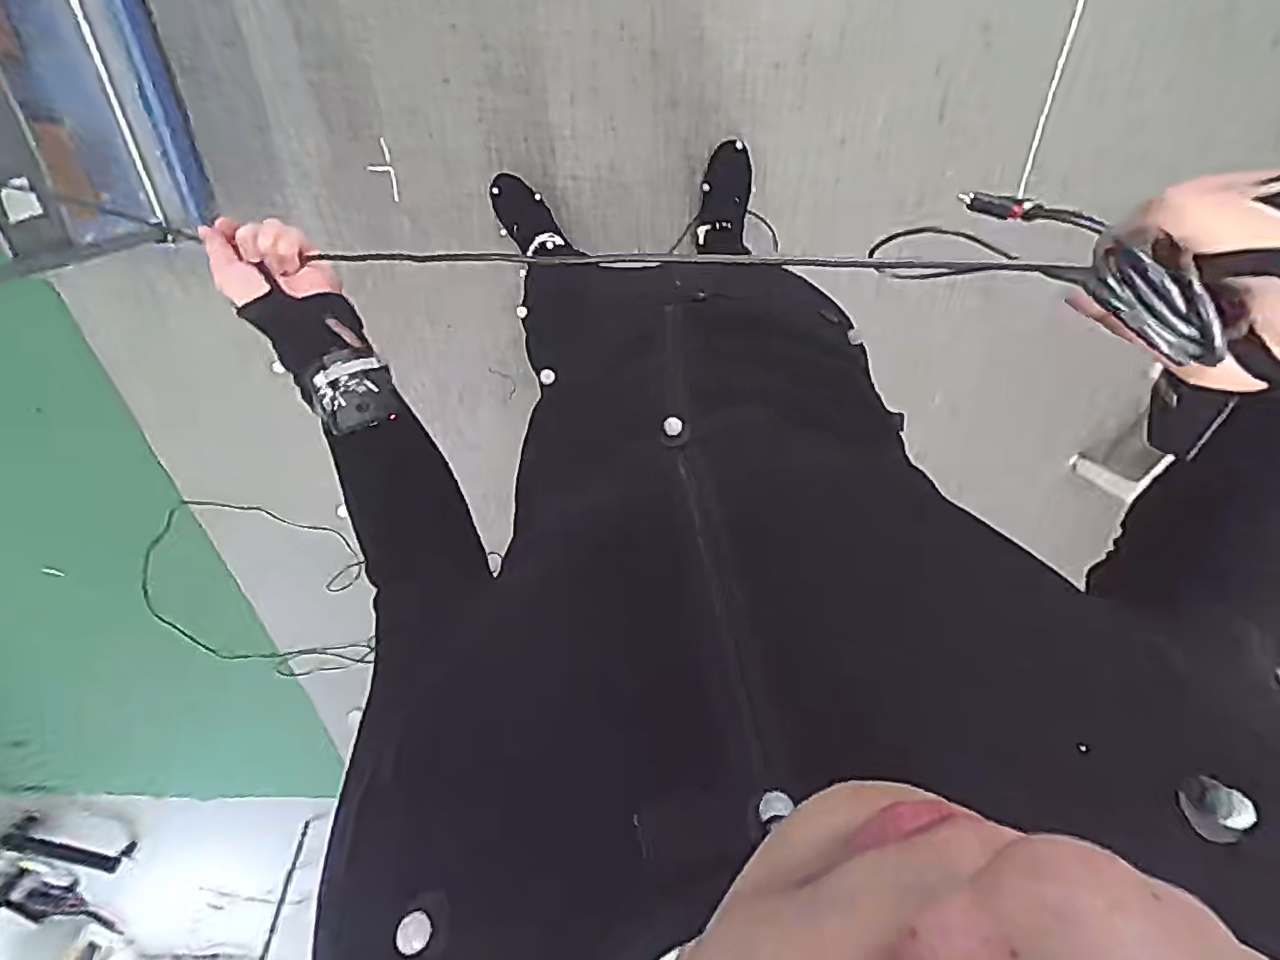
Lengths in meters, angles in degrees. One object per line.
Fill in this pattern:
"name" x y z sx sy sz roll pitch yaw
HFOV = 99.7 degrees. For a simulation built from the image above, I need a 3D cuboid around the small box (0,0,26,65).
"small box" -1.266 -0.835 0.937 0.179 0.176 0.168 3 124 -3
